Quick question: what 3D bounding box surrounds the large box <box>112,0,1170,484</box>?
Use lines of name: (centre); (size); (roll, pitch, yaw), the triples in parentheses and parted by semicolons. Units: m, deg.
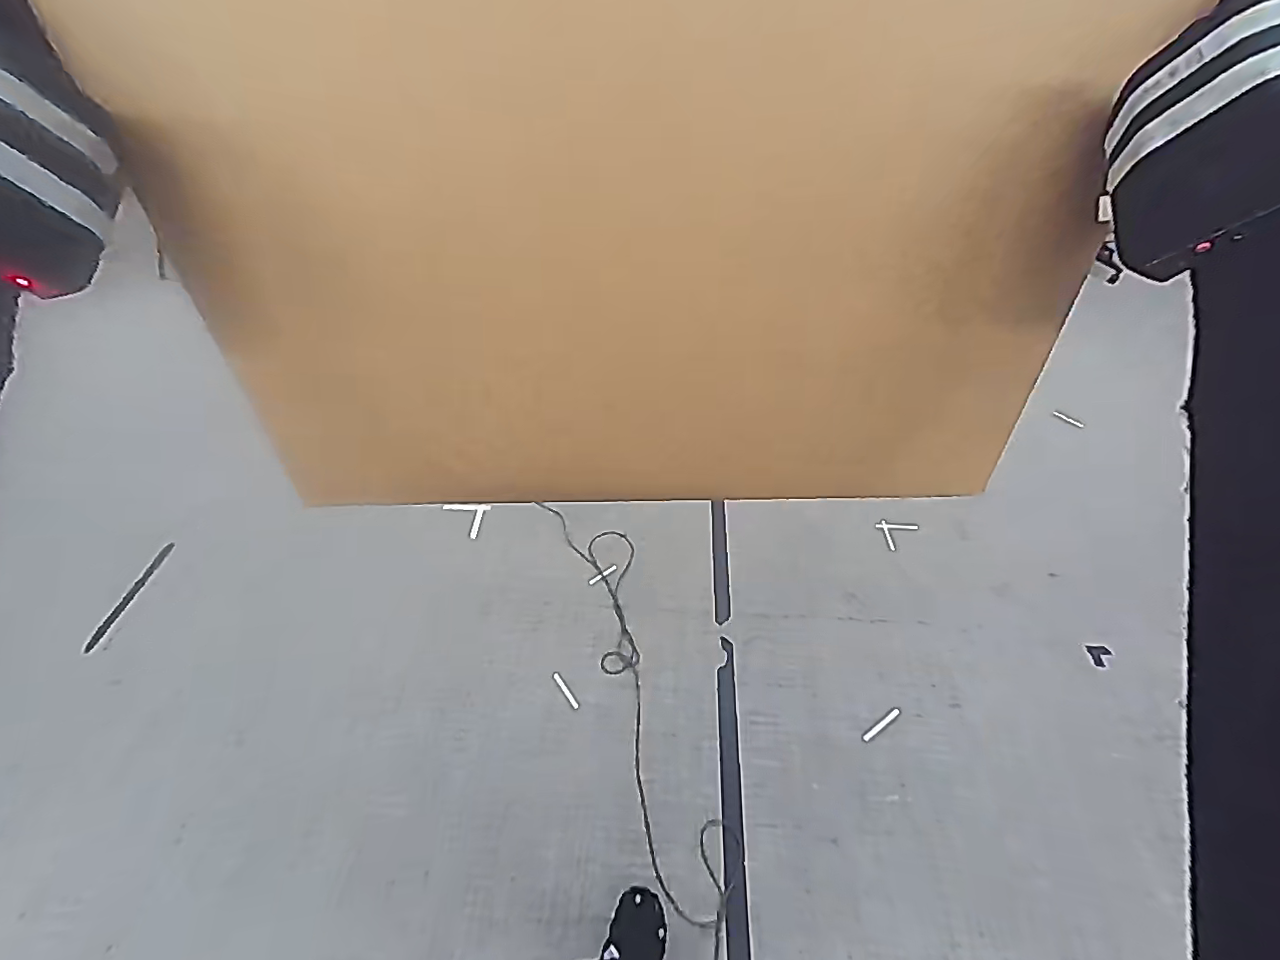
large box: (0.000, -0.208, 0.361); (0.408, 0.320, 0.320); (0, 39, 0)
